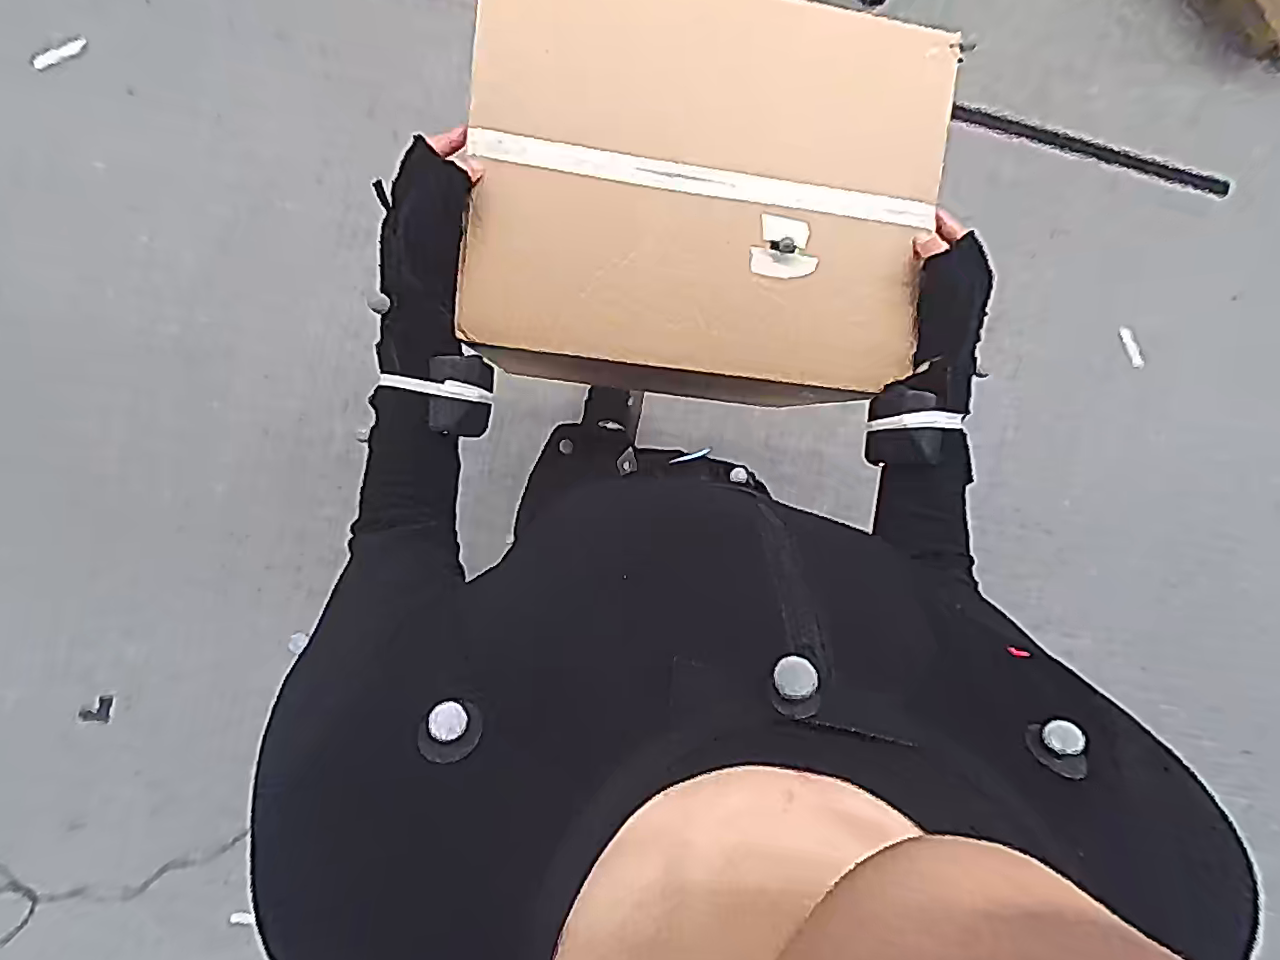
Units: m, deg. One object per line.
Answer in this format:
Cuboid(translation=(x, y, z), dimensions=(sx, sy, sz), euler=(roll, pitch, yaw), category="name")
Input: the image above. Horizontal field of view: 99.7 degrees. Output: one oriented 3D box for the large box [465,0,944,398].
Cuboid(translation=(0.041, -0.273, 0.613), dimensions=(0.408, 0.320, 0.320), euler=(6, 96, -8), category="large box")
